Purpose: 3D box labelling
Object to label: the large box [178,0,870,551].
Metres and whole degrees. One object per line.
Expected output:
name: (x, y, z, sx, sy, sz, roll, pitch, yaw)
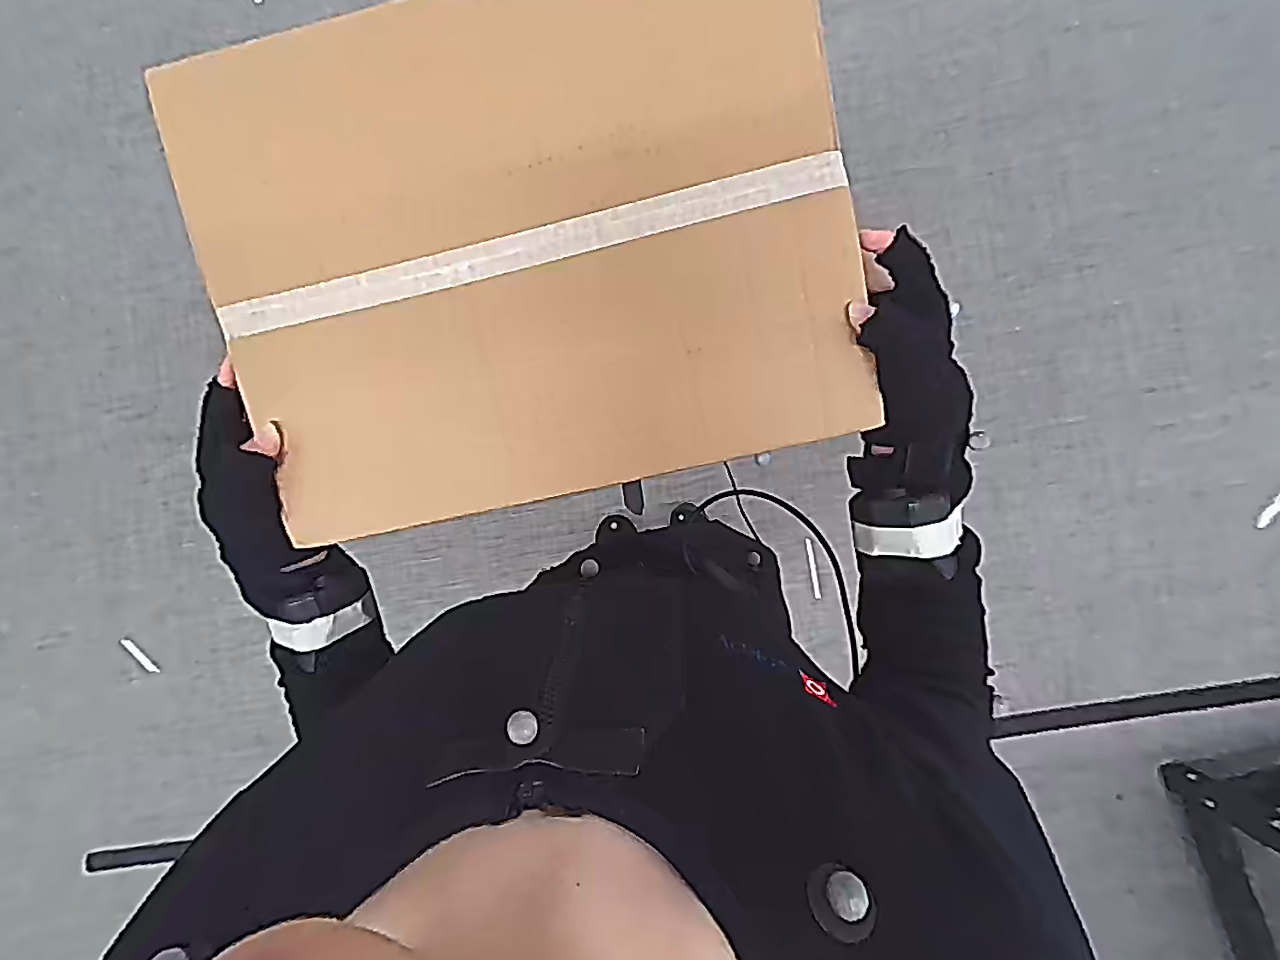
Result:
large box: (-0.065, -0.161, 0.497, 0.408, 0.320, 0.320, -12, 97, 5)
